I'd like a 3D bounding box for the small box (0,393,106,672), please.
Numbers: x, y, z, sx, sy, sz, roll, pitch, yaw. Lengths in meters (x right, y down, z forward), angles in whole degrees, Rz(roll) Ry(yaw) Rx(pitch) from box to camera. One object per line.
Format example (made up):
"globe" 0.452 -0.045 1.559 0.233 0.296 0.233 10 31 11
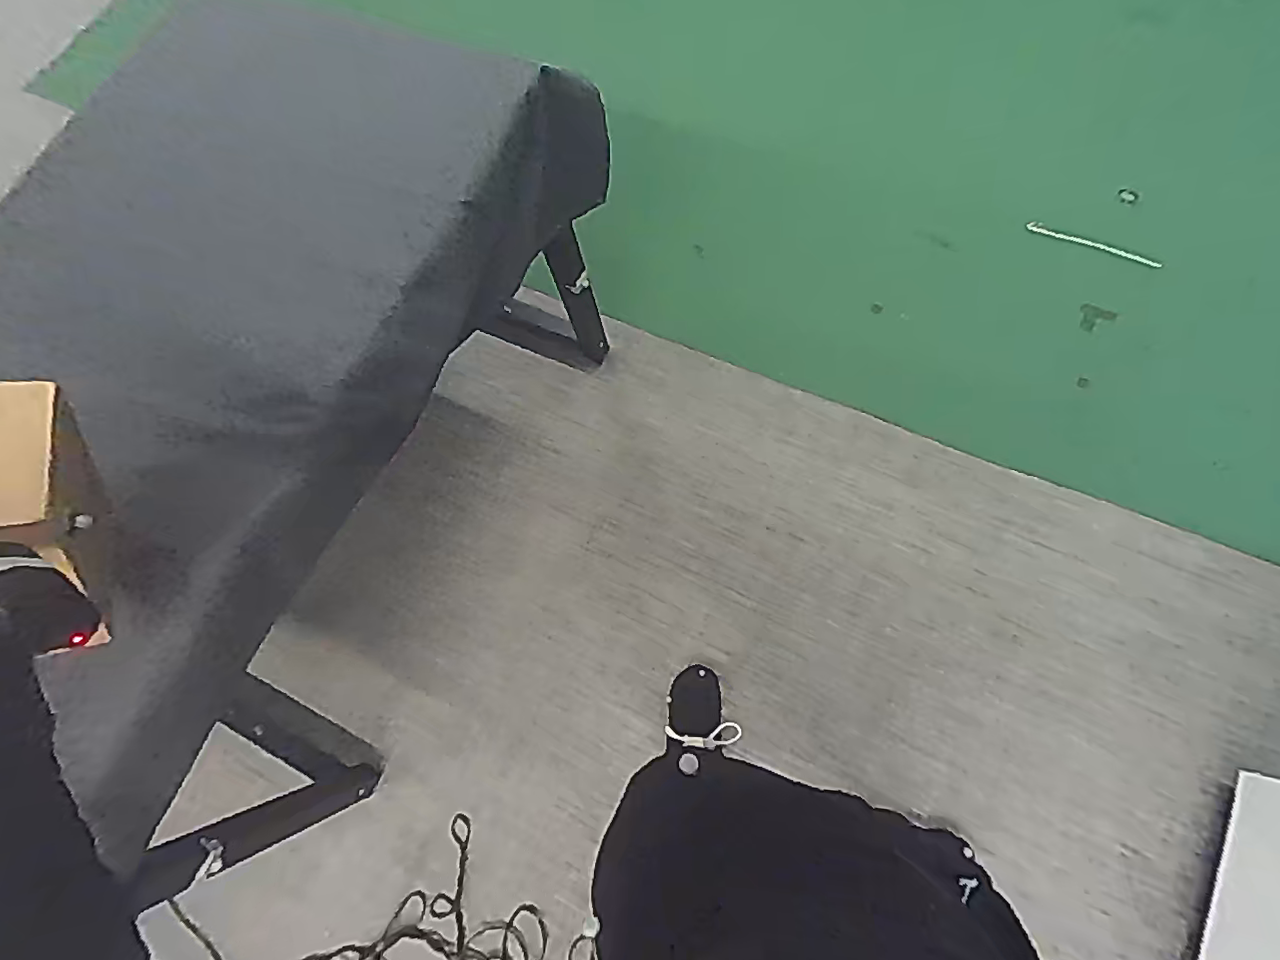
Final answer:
"small box" -0.571 0.050 0.441 0.168 0.179 0.176 -10 52 -35
